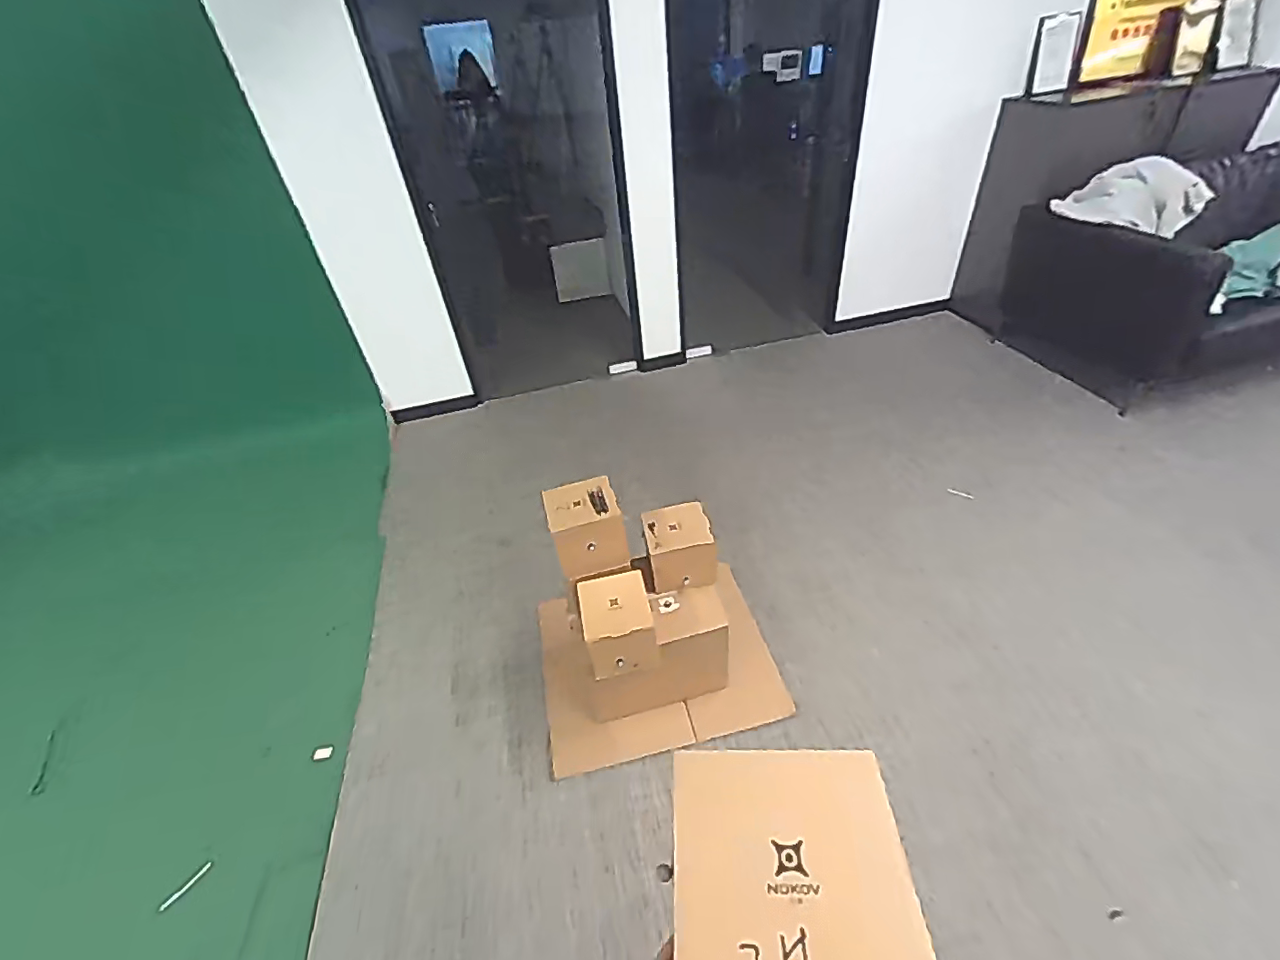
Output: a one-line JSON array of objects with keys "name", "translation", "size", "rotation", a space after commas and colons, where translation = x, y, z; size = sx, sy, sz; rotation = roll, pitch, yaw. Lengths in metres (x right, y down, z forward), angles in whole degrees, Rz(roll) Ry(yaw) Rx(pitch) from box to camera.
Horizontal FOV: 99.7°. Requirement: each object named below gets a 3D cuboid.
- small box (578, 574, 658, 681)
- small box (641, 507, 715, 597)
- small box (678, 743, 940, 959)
[{"name": "small box", "translation": [-0.055, 0.366, 1.341], "size": [0.168, 0.176, 0.179], "rotation": [-11, 41, -6]}, {"name": "small box", "translation": [0.107, 0.203, 1.515], "size": [0.179, 0.176, 0.168], "rotation": [-11, 40, -2]}, {"name": "small box", "translation": [0.115, 0.336, 0.429], "size": [0.168, 0.176, 0.179], "rotation": [-3, 37, 6]}]
